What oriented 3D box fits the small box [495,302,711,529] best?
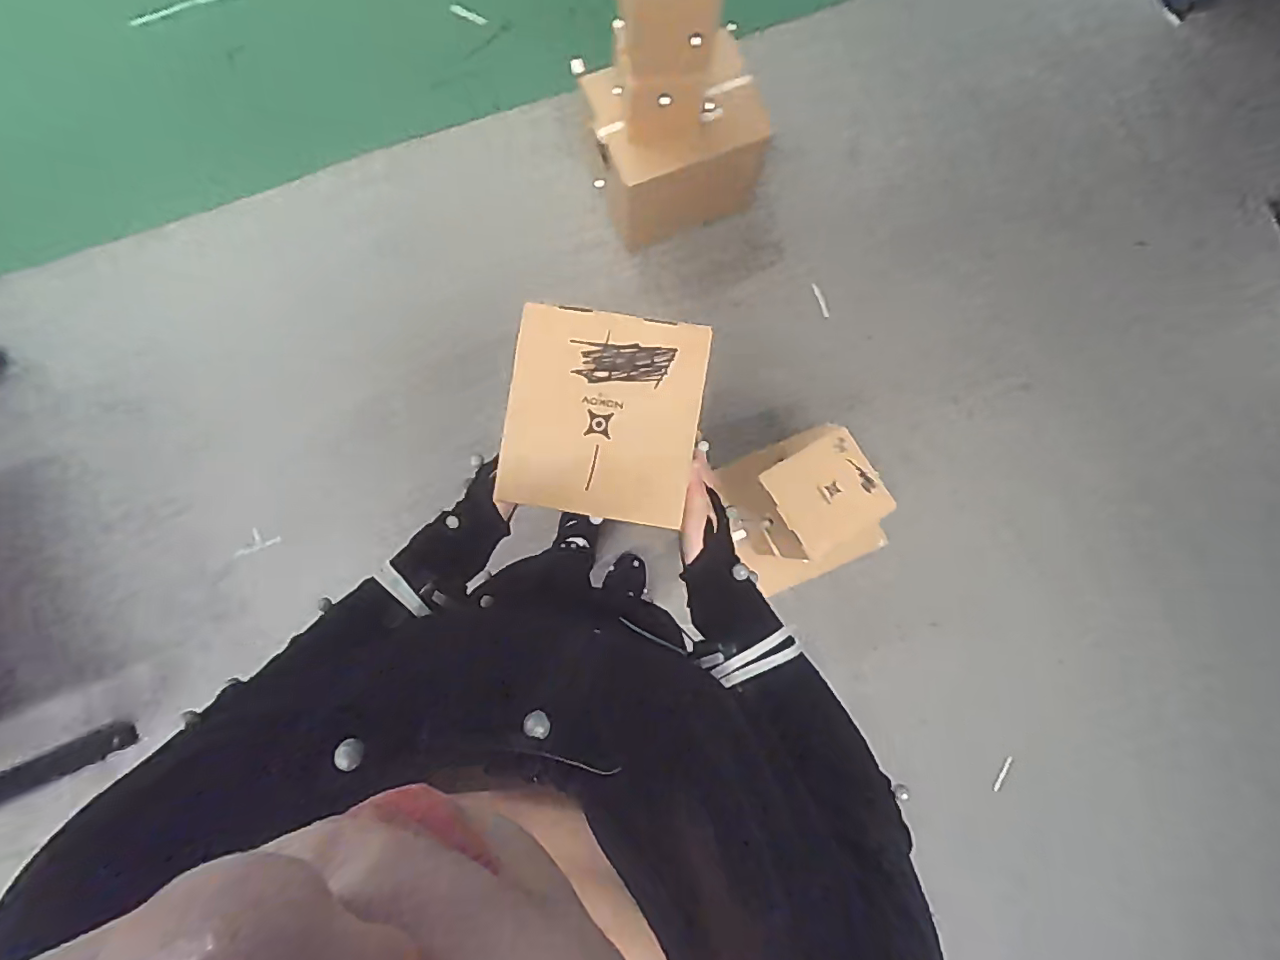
[{"bbox_3d":[-0.028,-0.057,0.541,0.168,0.176,0.179,9,92,4],"label":"small box"}]

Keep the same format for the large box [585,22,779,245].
[{"bbox_3d":[0.098,-0.913,1.468,0.408,0.320,0.320,-22,86,-4],"label":"large box"}]

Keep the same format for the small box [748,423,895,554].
[{"bbox_3d":[0.312,0.023,0.978,0.179,0.176,0.168,-30,85,-3],"label":"small box"}]

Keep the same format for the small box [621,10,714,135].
[{"bbox_3d":[0.055,-0.923,1.224,0.179,0.176,0.168,-11,85,-2],"label":"small box"}]

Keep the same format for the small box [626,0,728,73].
[{"bbox_3d":[0.066,-0.947,1.063,0.179,0.176,0.168,-7,84,-1],"label":"small box"}]
